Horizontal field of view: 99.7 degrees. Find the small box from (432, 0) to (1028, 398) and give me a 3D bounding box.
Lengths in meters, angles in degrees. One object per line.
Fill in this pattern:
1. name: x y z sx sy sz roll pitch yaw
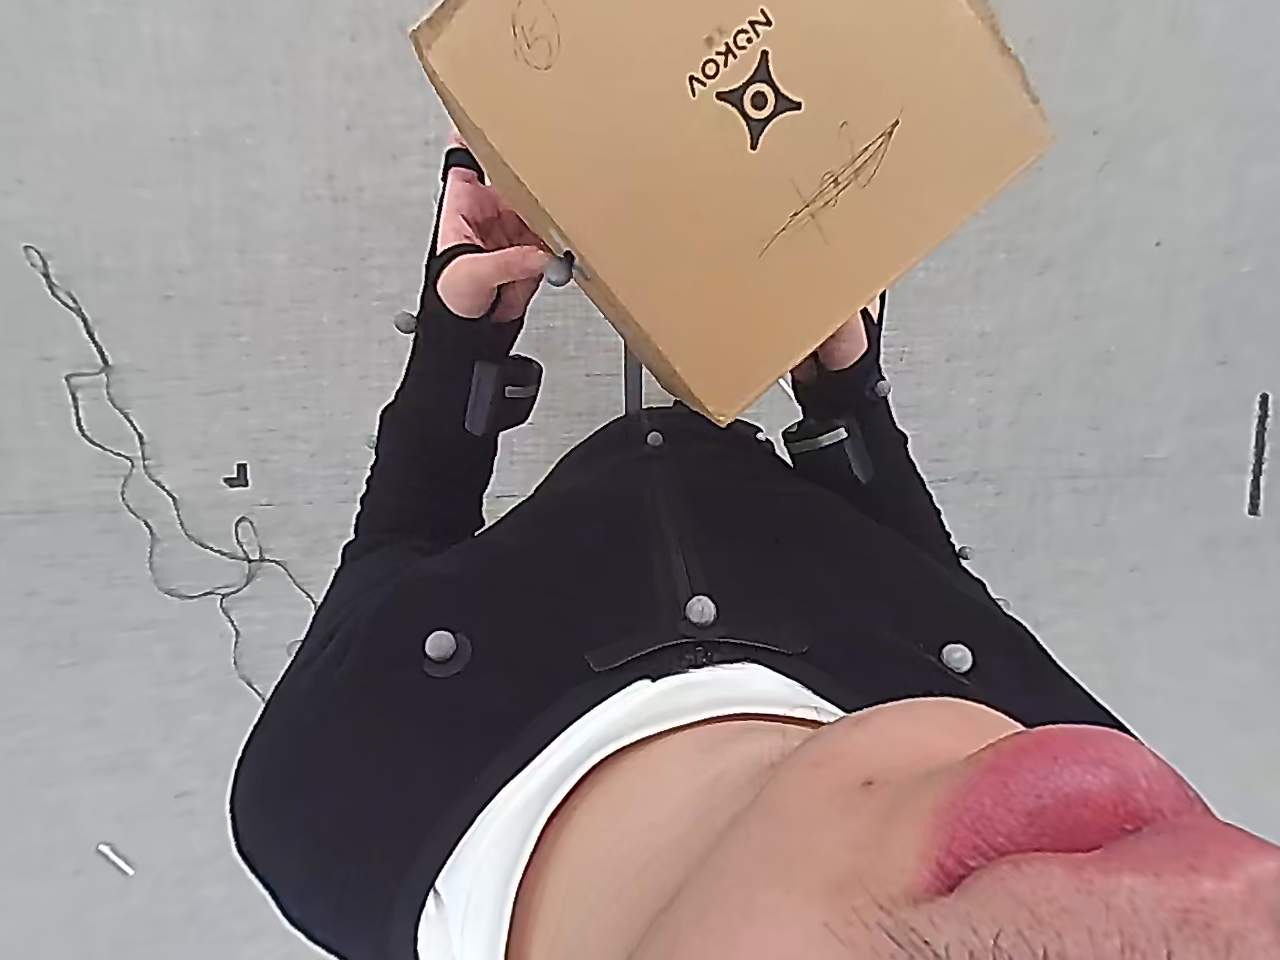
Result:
1. small box: 0.033 -0.164 0.281 0.168 0.176 0.179 -41 104 6
